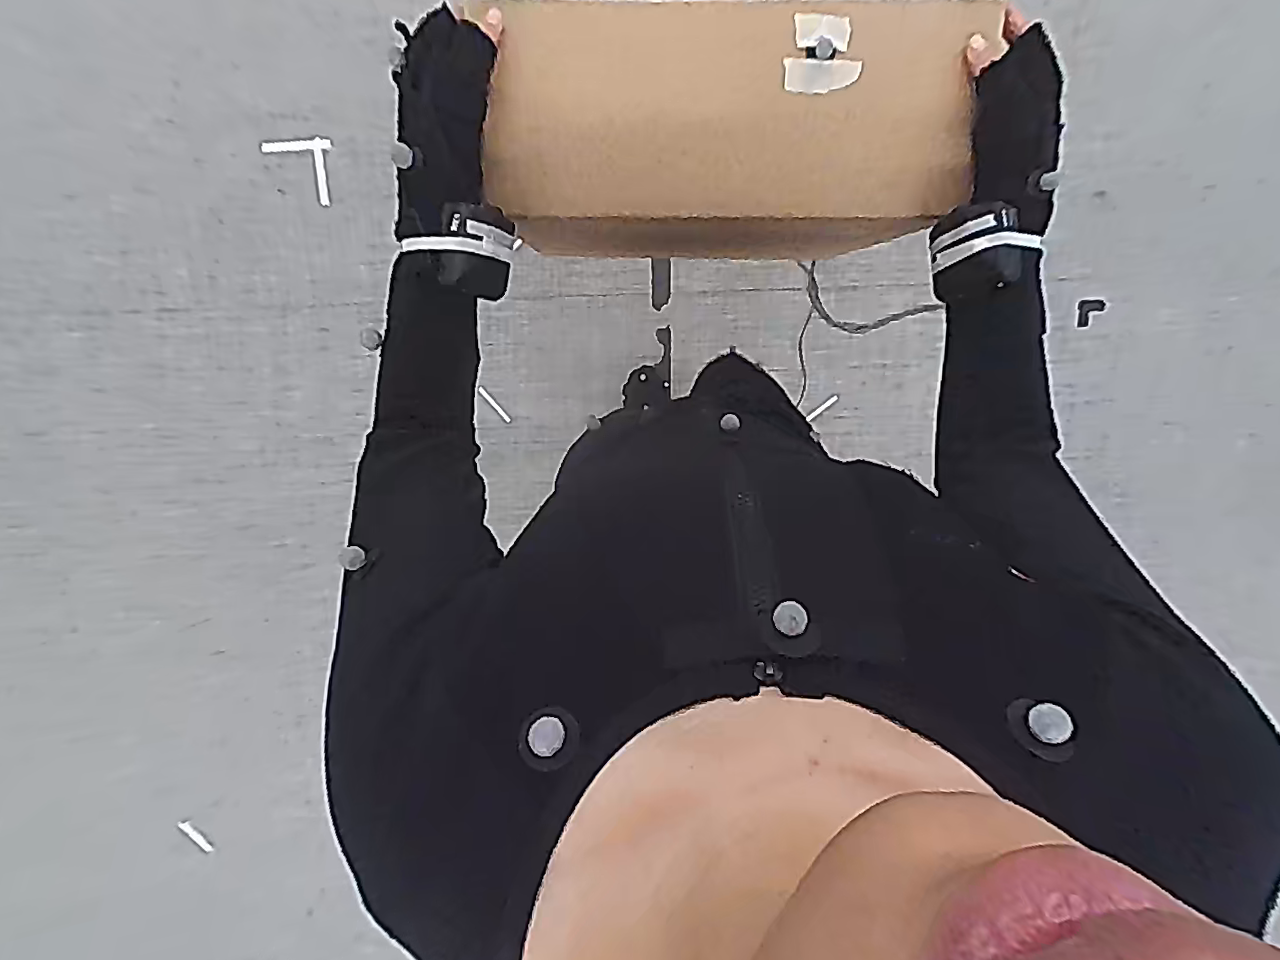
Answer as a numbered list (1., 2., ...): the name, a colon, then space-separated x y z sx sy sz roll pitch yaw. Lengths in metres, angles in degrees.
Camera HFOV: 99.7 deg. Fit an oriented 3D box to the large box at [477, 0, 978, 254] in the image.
1. large box: 0.064 -0.422 0.563 0.408 0.320 0.320 -1 107 -2
